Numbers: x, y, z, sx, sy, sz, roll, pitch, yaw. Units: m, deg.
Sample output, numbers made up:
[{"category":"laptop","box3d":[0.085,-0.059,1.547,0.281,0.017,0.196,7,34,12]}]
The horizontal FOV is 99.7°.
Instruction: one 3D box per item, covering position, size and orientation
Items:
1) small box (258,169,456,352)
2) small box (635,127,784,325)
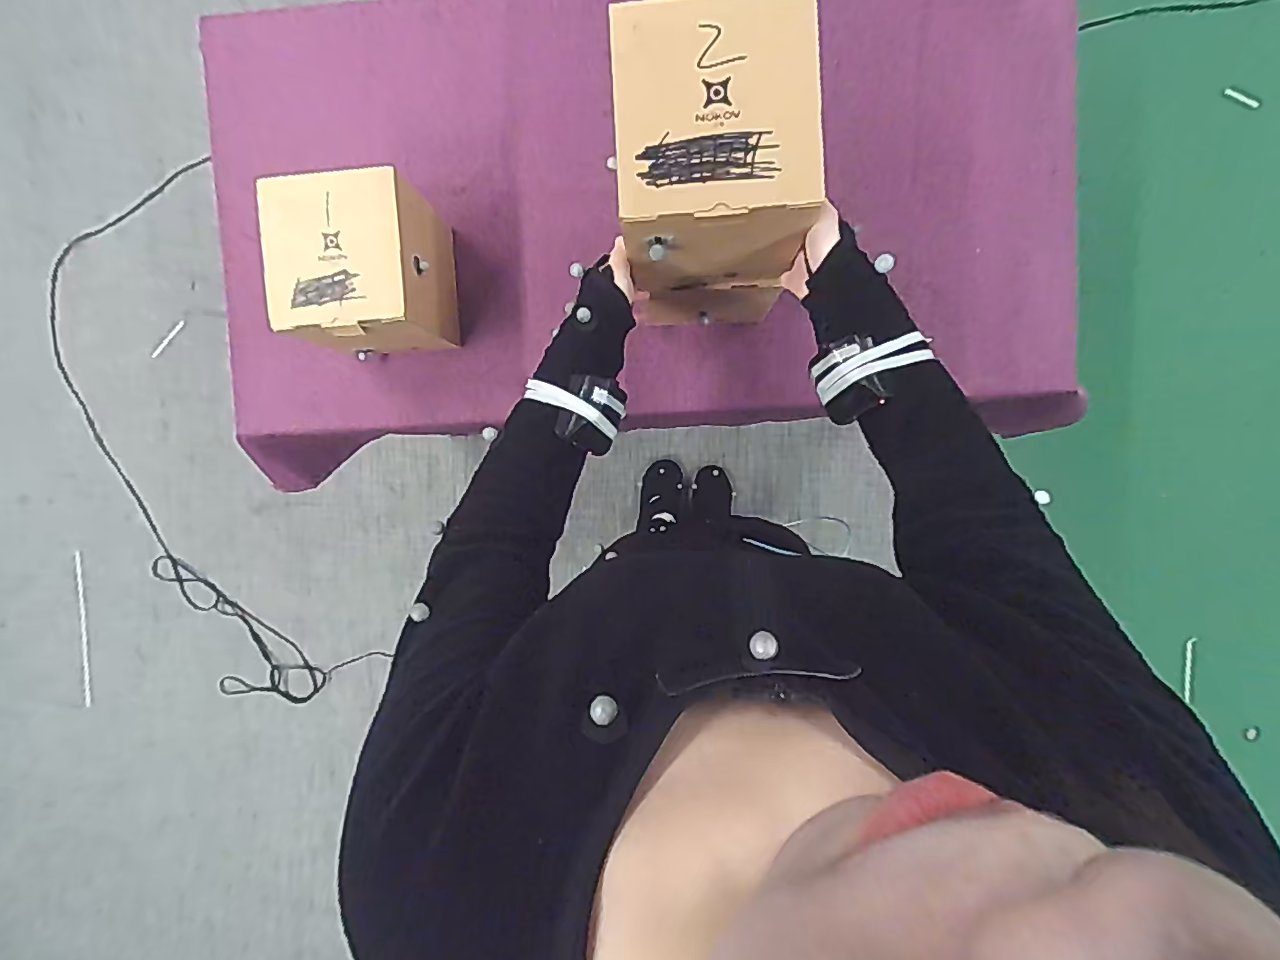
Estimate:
[{"category":"small box","box3d":[-0.352,-0.268,0.704,0.168,0.176,0.179,-4,92,3]},{"category":"small box","box3d":[0.080,-0.303,0.676,0.168,0.176,0.179,0,93,4]}]
